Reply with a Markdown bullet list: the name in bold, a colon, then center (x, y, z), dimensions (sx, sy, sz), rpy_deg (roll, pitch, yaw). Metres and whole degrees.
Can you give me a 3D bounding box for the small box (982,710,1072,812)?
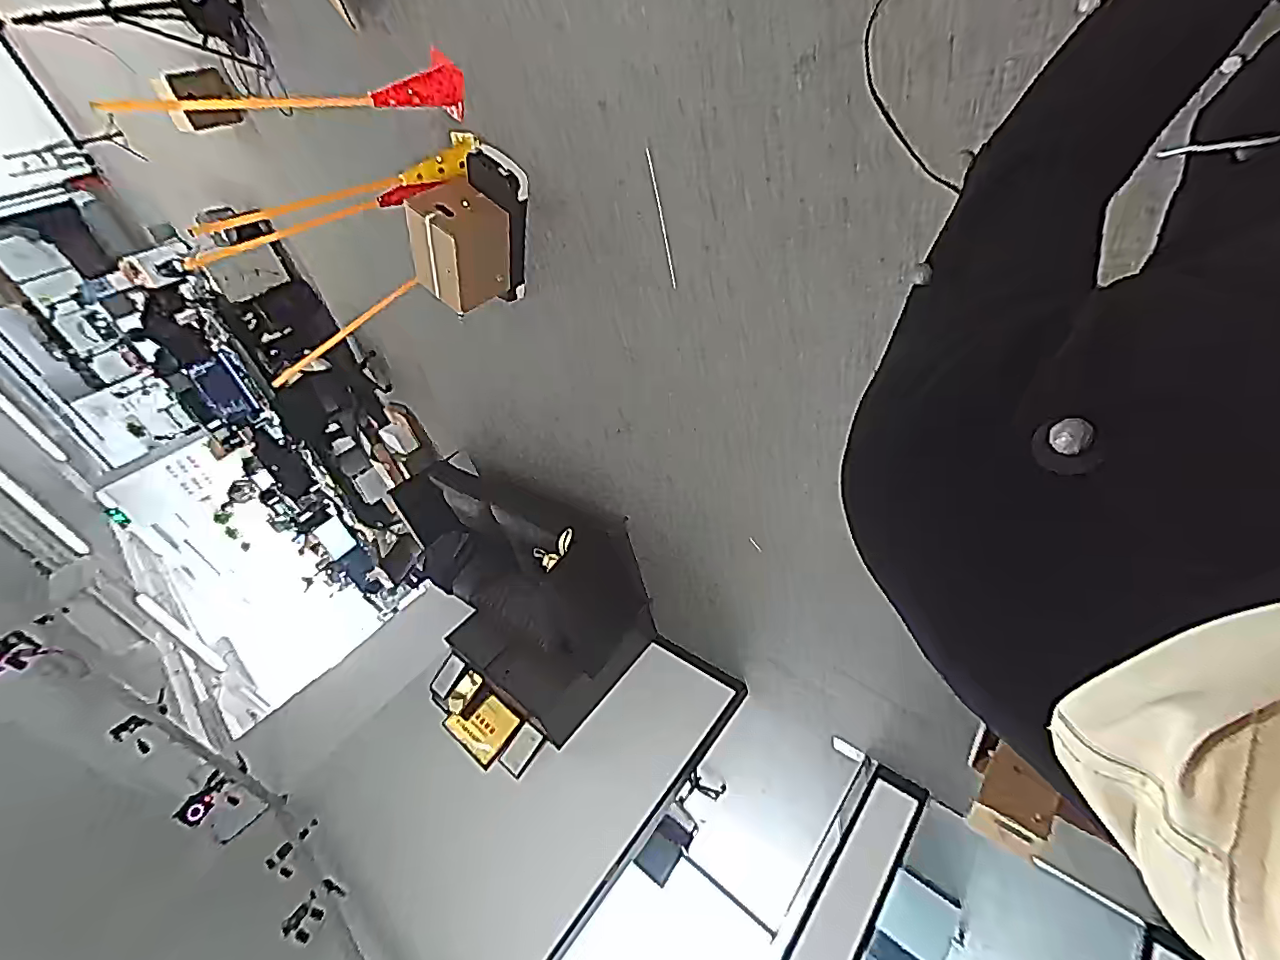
- **small box**: center (1.152, 0.830, 1.609), dimensions (0.168, 0.176, 0.179), rpy_deg (22, 139, 38)
